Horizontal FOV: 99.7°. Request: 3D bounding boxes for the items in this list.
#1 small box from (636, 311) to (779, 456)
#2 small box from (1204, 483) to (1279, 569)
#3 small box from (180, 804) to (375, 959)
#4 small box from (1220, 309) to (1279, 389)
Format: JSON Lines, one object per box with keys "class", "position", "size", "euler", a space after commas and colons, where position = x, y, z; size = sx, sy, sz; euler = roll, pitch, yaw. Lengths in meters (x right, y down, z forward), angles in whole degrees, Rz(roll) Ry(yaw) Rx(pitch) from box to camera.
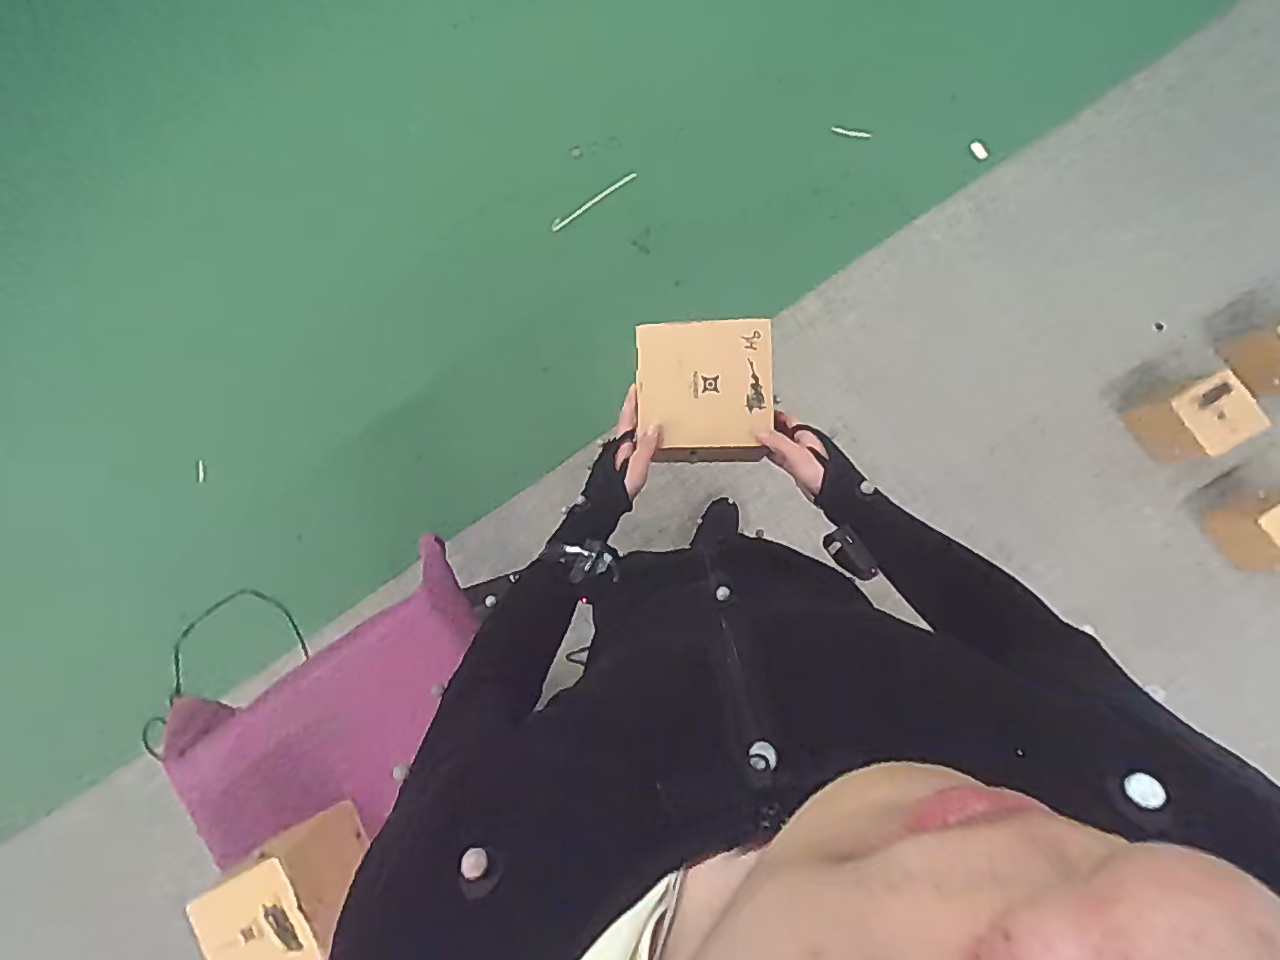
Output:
{"class": "small box", "position": [0.095, -0.124, 0.753], "size": [0.179, 0.176, 0.168], "euler": [1, 86, 7]}
{"class": "small box", "position": [1.628, 0.117, 1.378], "size": [0.168, 0.176, 0.179], "euler": [-35, 84, 3]}
{"class": "small box", "position": [-0.558, 0.663, 0.862], "size": [0.179, 0.176, 0.168], "euler": [-29, 84, 4]}
{"class": "small box", "position": [1.697, -0.352, 1.398], "size": [0.168, 0.176, 0.179], "euler": [-34, 83, 3]}
